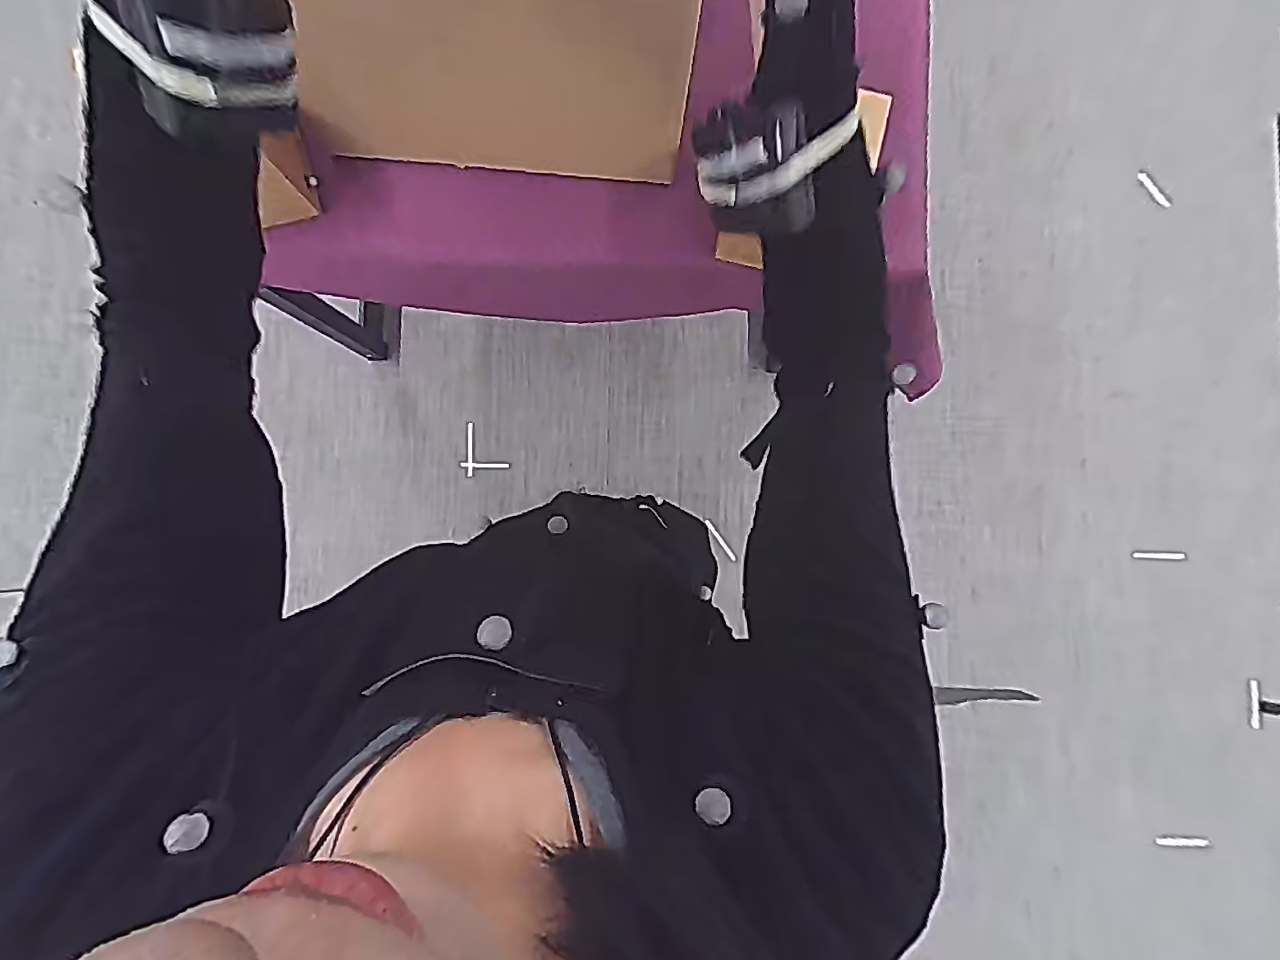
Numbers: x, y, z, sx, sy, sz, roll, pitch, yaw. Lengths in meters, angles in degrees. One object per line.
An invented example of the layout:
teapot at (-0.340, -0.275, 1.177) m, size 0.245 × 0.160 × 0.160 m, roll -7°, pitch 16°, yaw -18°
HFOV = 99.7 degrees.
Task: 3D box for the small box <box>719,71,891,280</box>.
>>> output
small box at (0.215, -0.407, 0.753) m, size 0.168 × 0.176 × 0.179 m, roll 13°, pitch 85°, yaw -1°

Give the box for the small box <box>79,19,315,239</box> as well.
small box at (-0.572, -0.457, 0.730) m, size 0.179 × 0.176 × 0.168 m, roll -16°, pitch 87°, yaw -4°
